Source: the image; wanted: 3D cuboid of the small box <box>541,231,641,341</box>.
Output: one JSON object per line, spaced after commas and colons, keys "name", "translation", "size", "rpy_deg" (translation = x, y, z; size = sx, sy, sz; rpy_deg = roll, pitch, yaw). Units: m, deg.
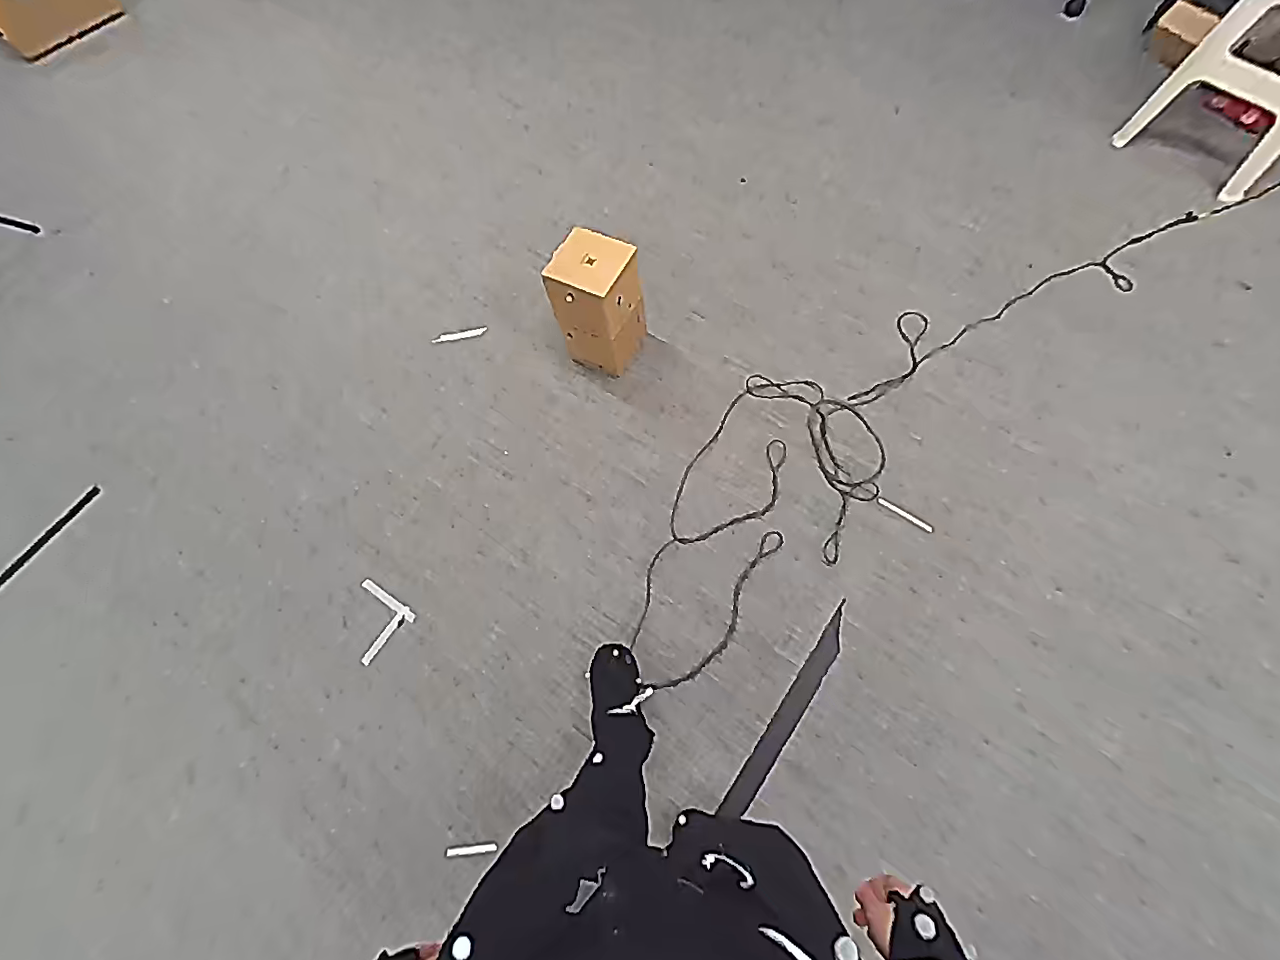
{"name": "small box", "translation": [-0.111, -0.471, 1.336], "size": [0.179, 0.176, 0.168], "rpy_deg": [24, 72, 15]}
